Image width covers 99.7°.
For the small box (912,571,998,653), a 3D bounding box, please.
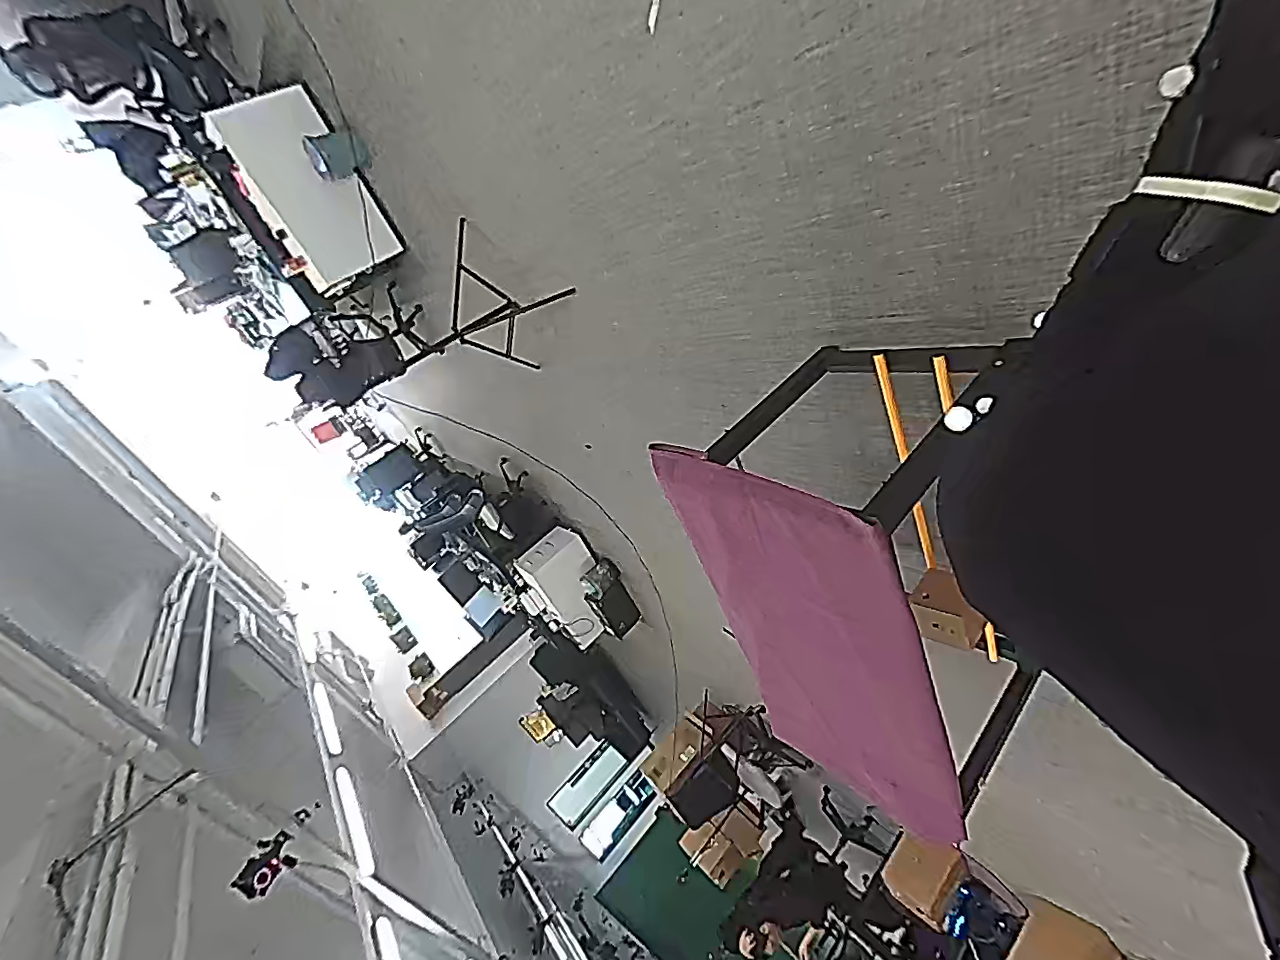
[{"bbox_3d":[1.014,0.415,1.738,0.179,0.176,0.168,9,135,53],"label":"small box"}]
